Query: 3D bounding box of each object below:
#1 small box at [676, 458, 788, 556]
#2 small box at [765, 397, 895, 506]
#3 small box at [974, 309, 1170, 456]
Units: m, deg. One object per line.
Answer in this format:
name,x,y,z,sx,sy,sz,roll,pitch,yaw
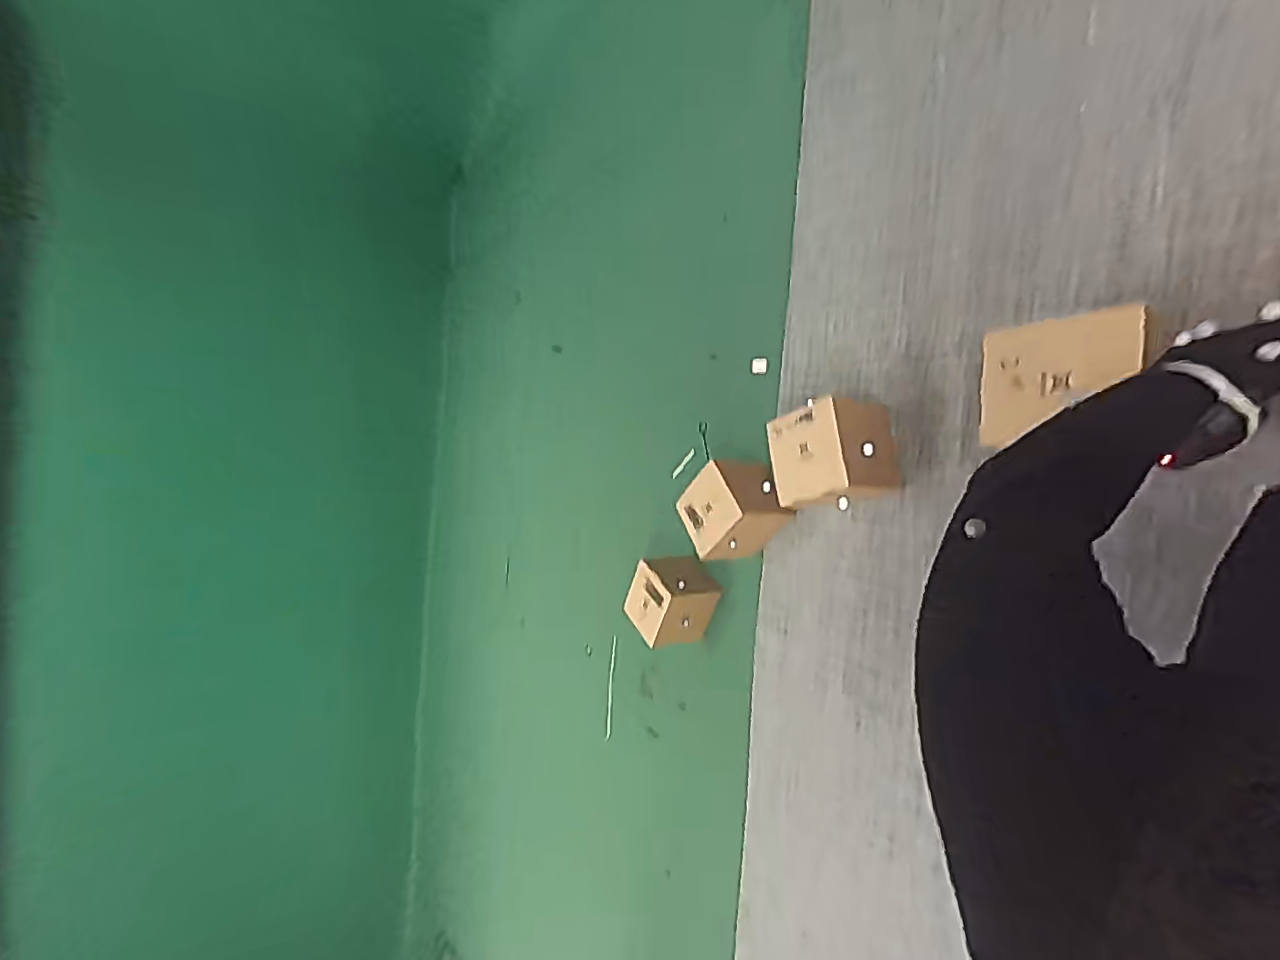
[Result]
small box,0.219,0.070,1.299,0.179,0.176,0.168,-55,45,37
small box,0.378,-0.049,1.075,0.168,0.176,0.179,-24,68,53
small box,0.599,-0.123,0.752,0.179,0.176,0.168,4,90,55
